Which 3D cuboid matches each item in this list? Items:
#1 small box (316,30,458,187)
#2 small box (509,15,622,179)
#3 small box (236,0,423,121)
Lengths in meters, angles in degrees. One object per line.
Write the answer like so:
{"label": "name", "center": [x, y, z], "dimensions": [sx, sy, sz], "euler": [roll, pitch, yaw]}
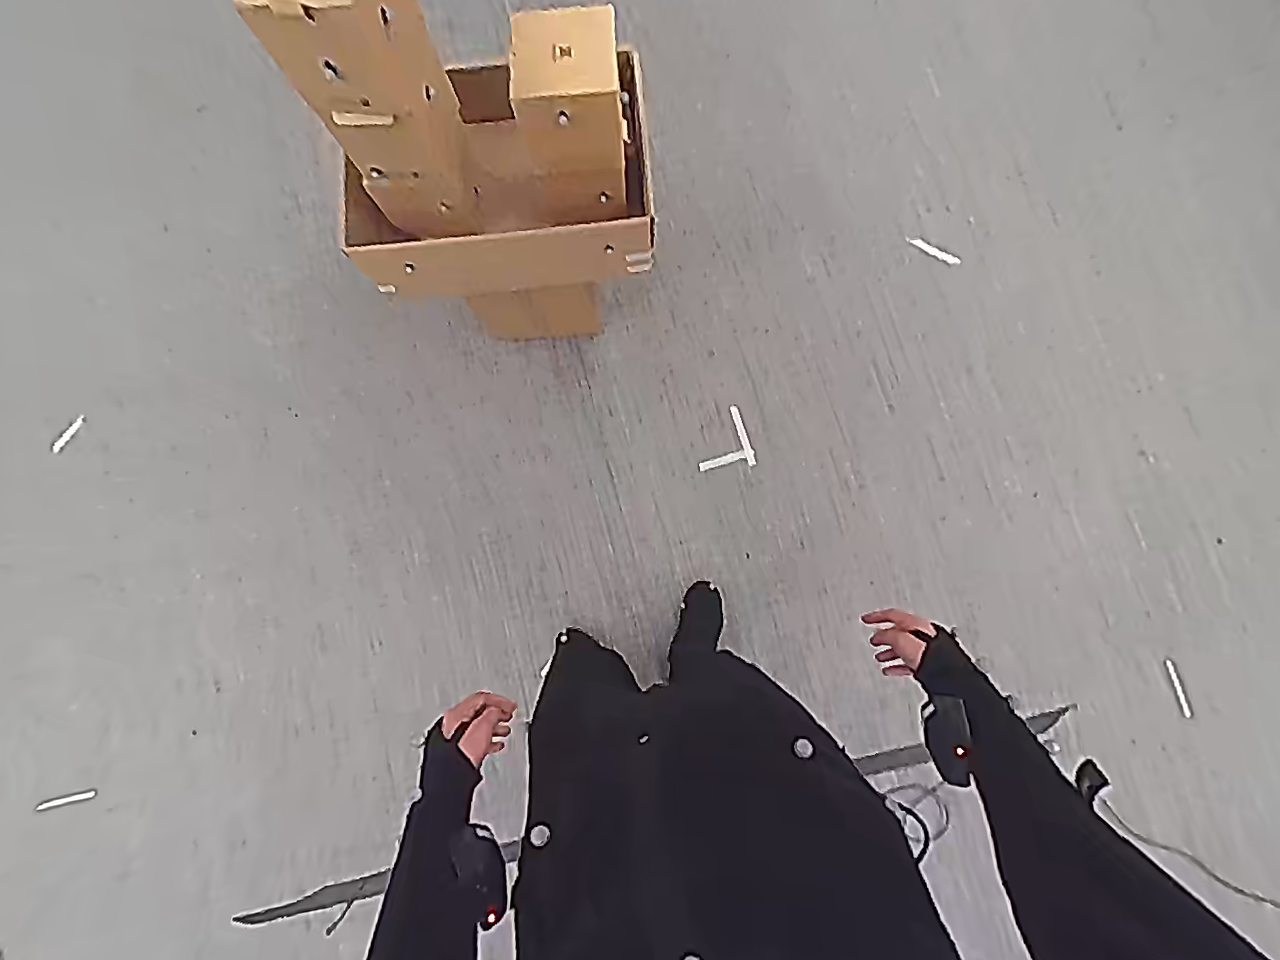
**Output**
{"label": "small box", "center": [-0.440, -0.654, 0.968], "dimensions": [0.168, 0.176, 0.179], "euler": [2, 80, 3]}
{"label": "small box", "center": [-0.123, -0.667, 0.958], "dimensions": [0.179, 0.176, 0.168], "euler": [-3, 80, 3]}
{"label": "small box", "center": [-0.445, -0.675, 0.805], "dimensions": [0.168, 0.176, 0.179], "euler": [6, 81, 3]}
